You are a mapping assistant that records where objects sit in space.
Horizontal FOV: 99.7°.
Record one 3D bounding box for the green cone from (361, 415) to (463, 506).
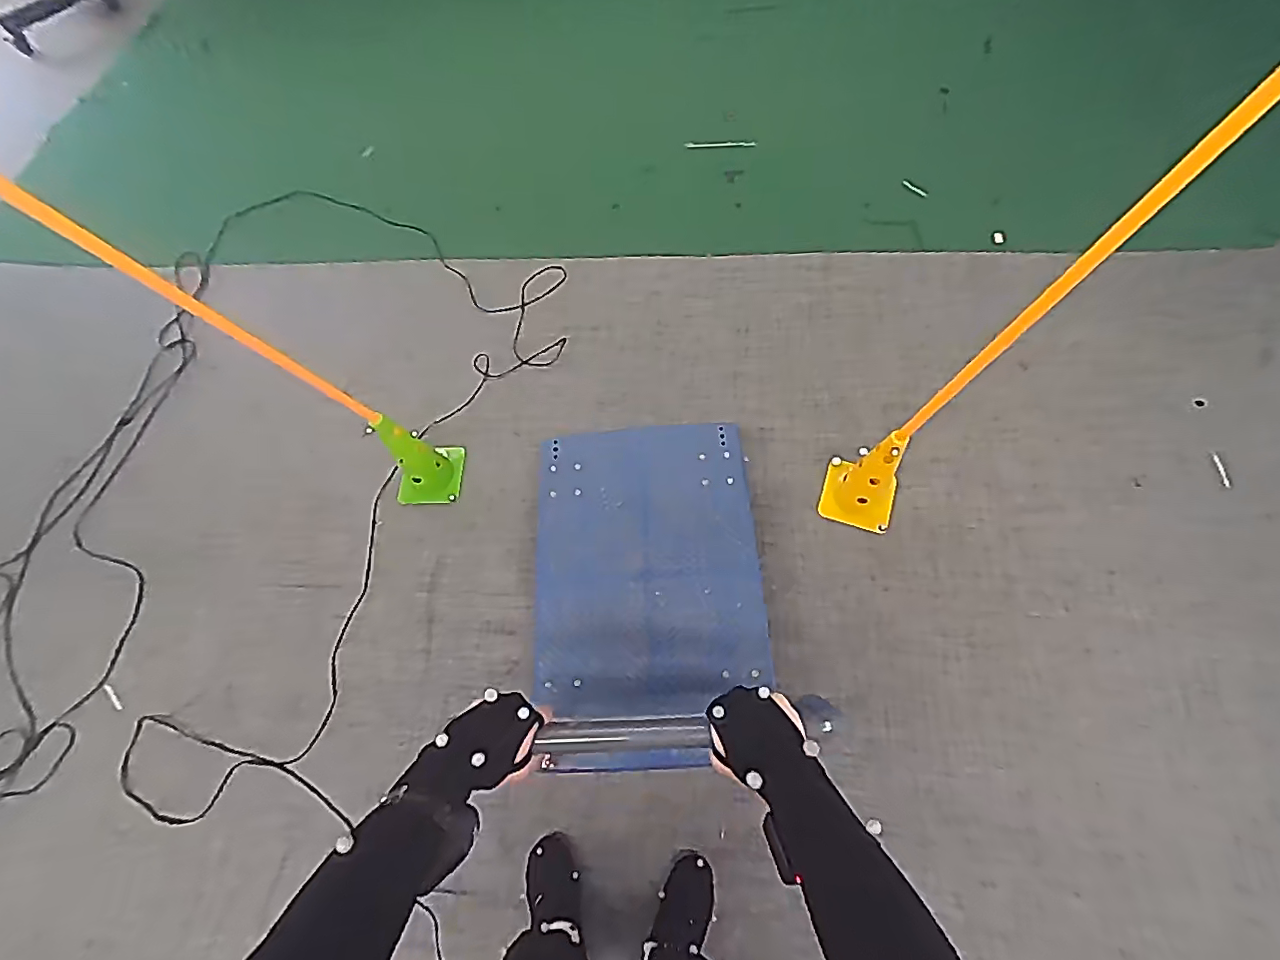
[{"bbox_3d":[-0.693,-0.084,1.586,0.202,0.368,0.200,-3,65,5],"label":"green cone"}]
